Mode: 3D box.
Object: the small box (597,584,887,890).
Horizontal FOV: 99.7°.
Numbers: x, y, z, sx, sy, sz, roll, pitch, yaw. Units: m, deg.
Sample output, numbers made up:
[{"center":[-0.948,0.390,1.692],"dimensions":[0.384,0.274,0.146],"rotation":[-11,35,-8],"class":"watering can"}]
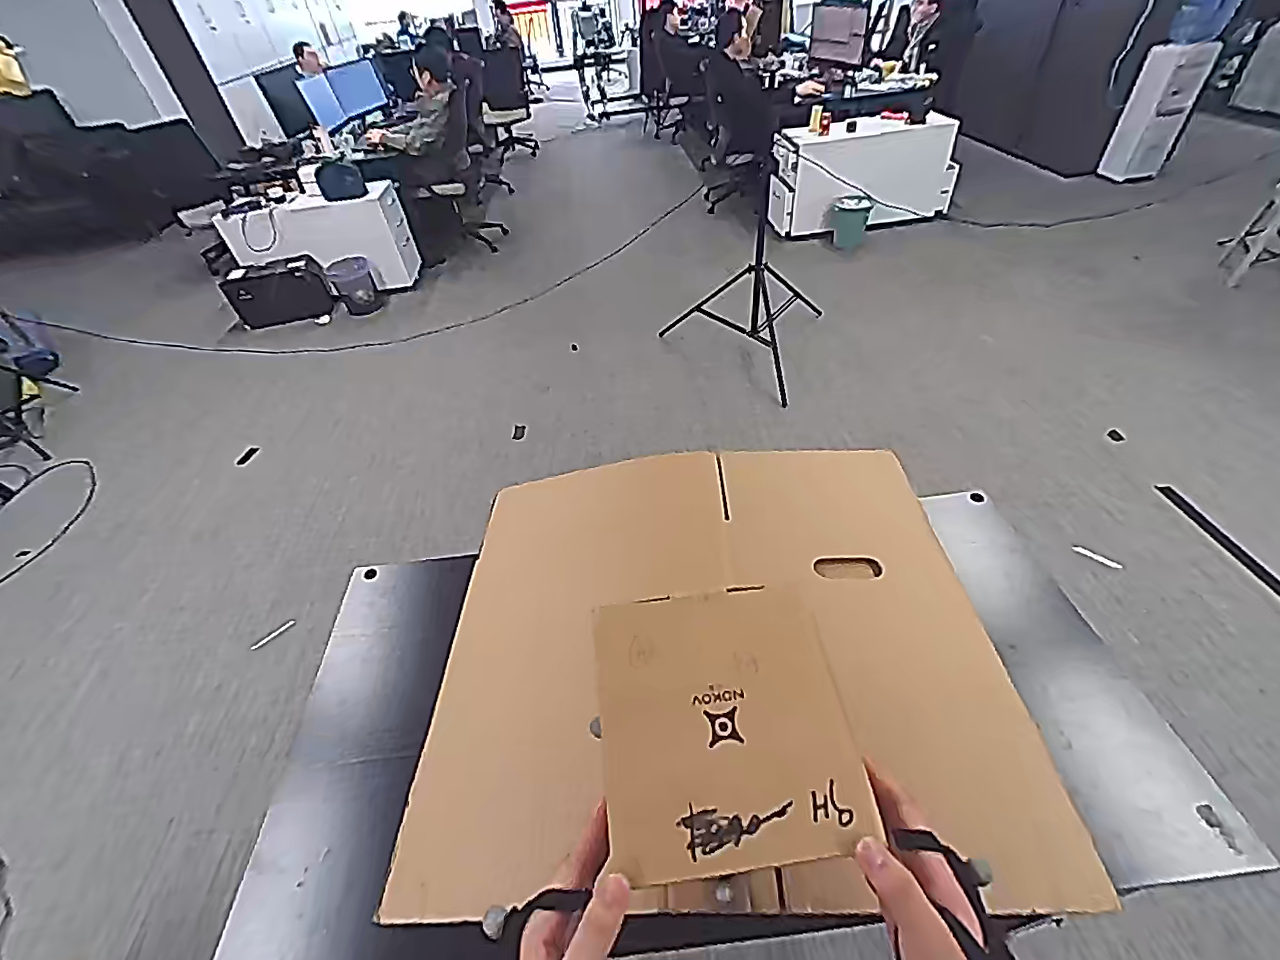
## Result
[{"center":[0.058,0.205,0.427],"dimensions":[0.168,0.176,0.179],"rotation":[-7,53,-3],"class":"small box"}]
